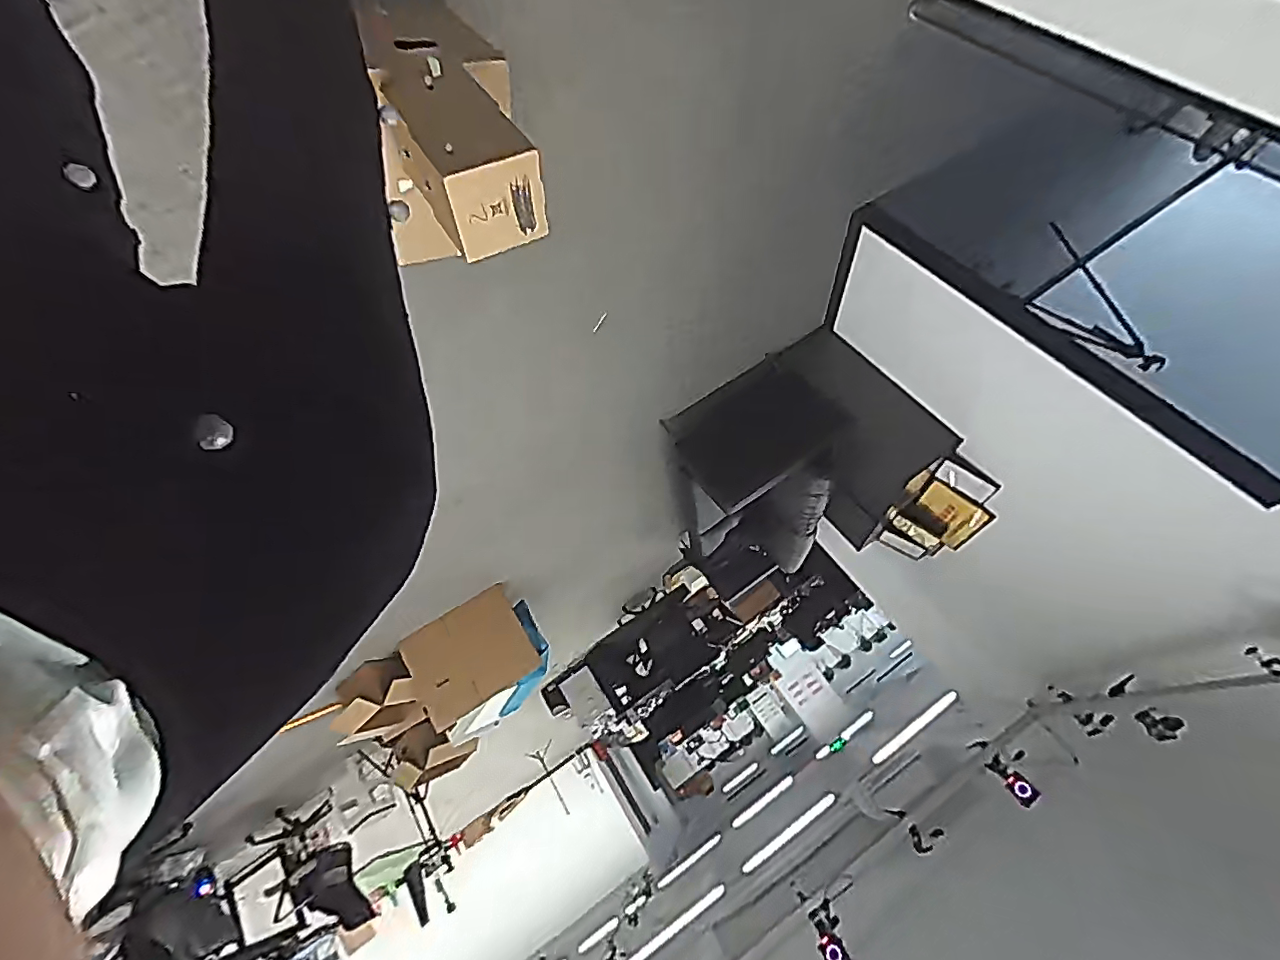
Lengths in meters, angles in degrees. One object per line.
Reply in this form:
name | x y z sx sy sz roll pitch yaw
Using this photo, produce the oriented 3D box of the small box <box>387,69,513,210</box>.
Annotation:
small box | -0.377 -0.675 1.069 0.179 0.176 0.168 -27 154 -18
